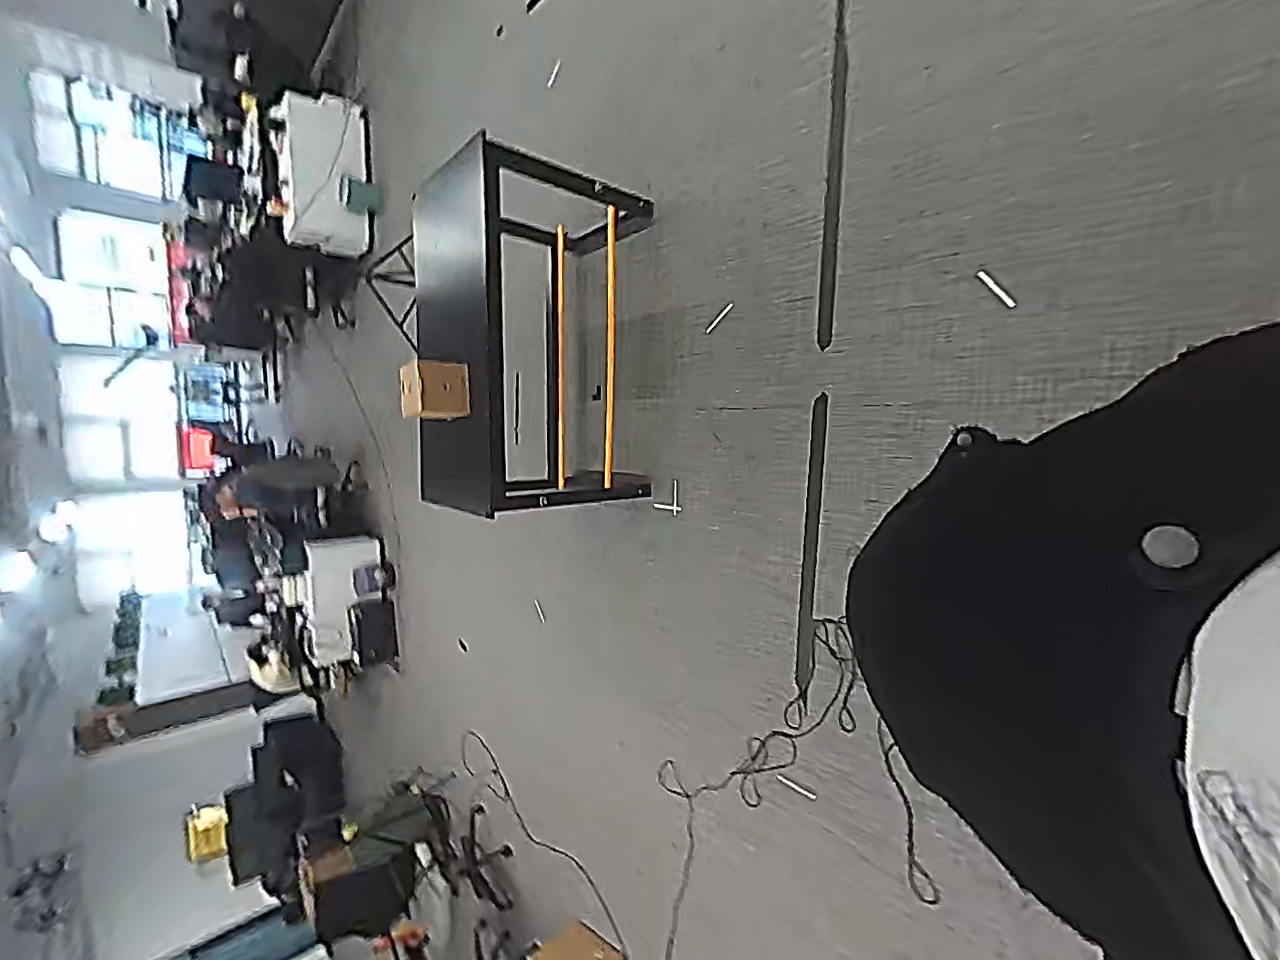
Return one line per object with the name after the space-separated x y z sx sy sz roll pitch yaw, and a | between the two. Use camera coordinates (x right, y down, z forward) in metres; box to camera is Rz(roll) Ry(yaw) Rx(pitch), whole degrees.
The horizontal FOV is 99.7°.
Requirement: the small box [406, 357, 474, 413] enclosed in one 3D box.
-0.673 -0.318 1.833 0.179 0.176 0.168 0 93 48 | small box
